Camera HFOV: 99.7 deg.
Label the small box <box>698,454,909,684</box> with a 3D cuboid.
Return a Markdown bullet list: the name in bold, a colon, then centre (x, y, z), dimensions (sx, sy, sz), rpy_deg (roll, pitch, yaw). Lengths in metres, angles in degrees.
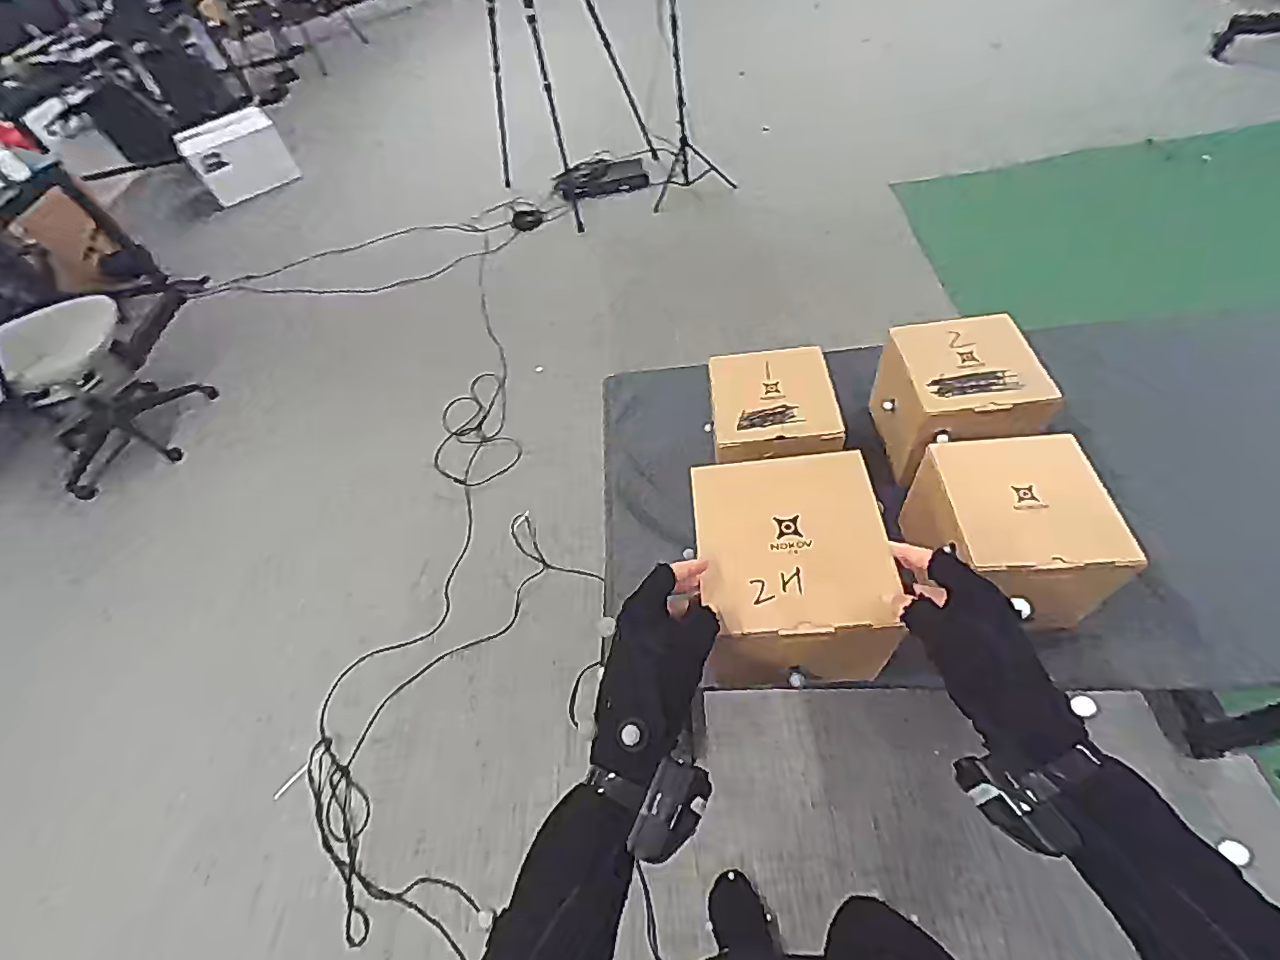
- **small box**: centre (0.150, 0.097, 0.557), dimensions (0.168, 0.176, 0.179), rpy_deg (-6, 55, 8)

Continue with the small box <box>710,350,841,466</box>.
- **small box**: centre (0.198, -0.070, 0.825), dimensions (0.168, 0.176, 0.179), rpy_deg (-5, 53, 7)
